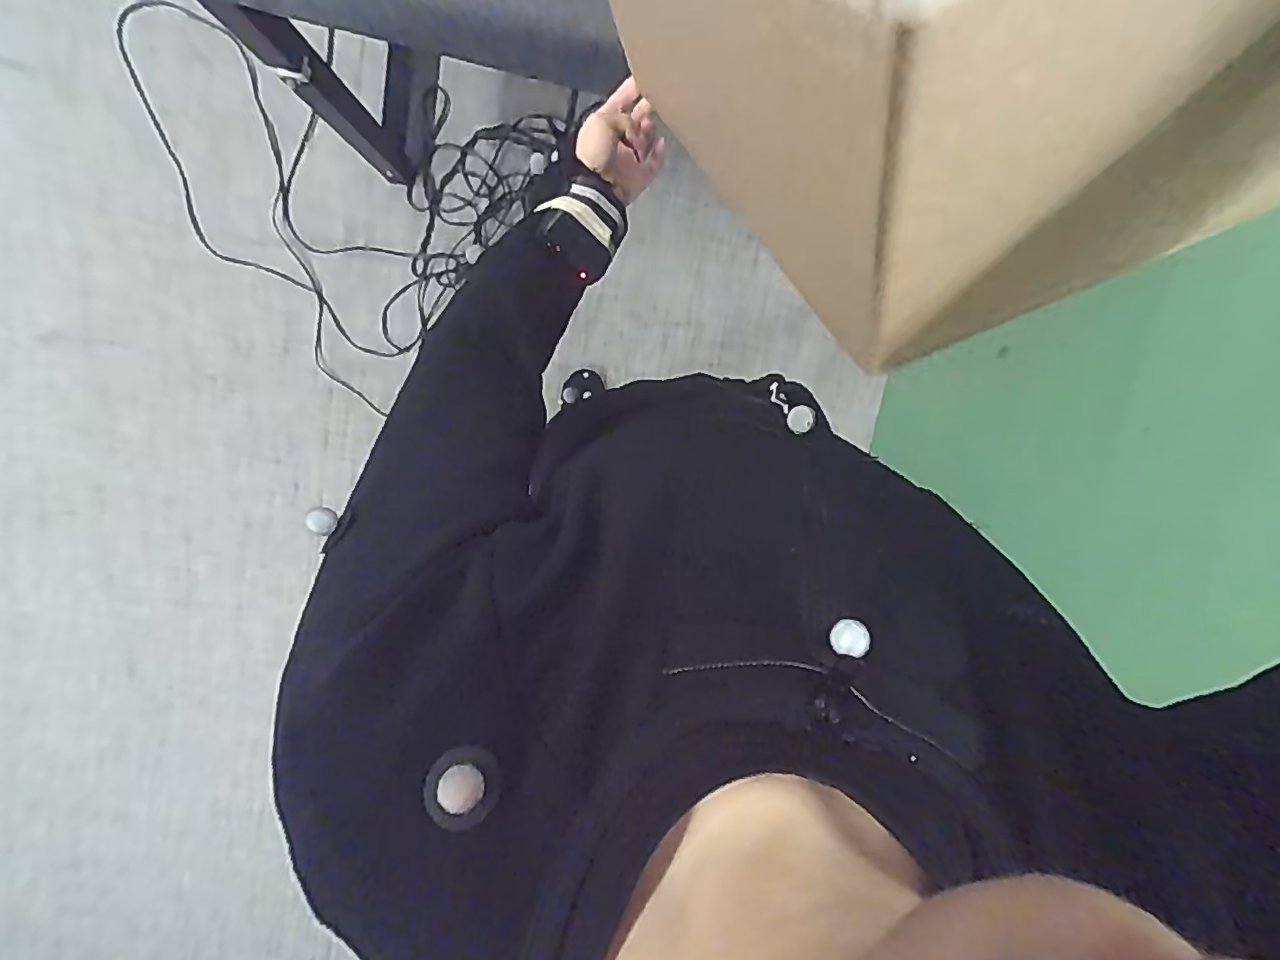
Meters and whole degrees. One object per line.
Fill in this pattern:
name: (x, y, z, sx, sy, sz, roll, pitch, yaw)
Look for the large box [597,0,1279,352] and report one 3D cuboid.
large box: (0.145, -0.342, 0.238, 0.320, 0.320, 0.408, -26, 57, 3)
